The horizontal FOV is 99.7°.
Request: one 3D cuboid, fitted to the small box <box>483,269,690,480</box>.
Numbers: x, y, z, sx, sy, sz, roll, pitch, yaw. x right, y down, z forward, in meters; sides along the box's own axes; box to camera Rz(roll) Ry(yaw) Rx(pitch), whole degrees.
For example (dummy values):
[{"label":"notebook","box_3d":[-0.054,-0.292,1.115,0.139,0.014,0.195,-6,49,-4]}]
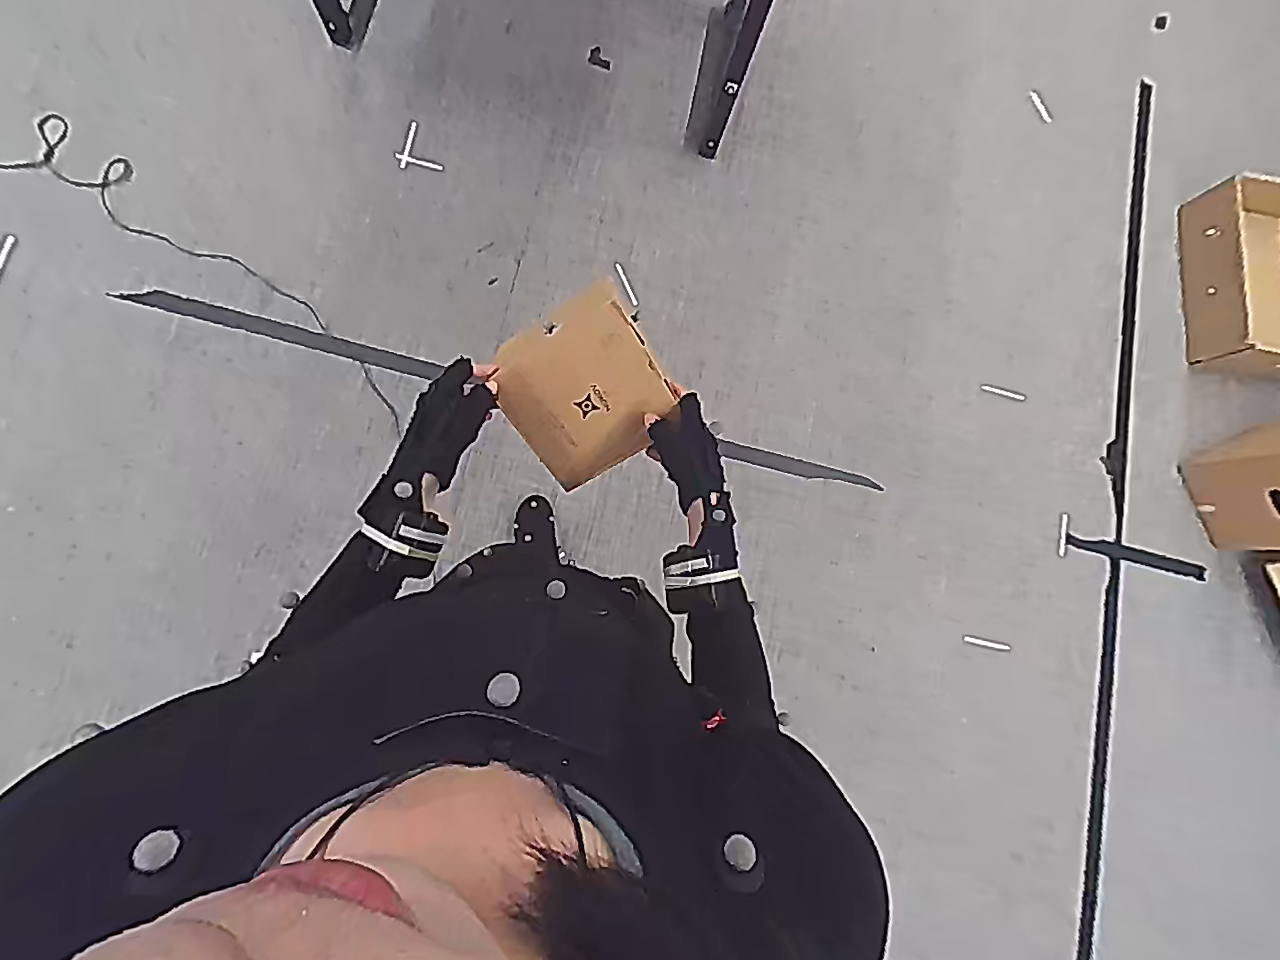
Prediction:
[{"label":"small box","box_3d":[-0.063,-0.137,0.665,0.179,0.176,0.168,-30,116,11]}]
